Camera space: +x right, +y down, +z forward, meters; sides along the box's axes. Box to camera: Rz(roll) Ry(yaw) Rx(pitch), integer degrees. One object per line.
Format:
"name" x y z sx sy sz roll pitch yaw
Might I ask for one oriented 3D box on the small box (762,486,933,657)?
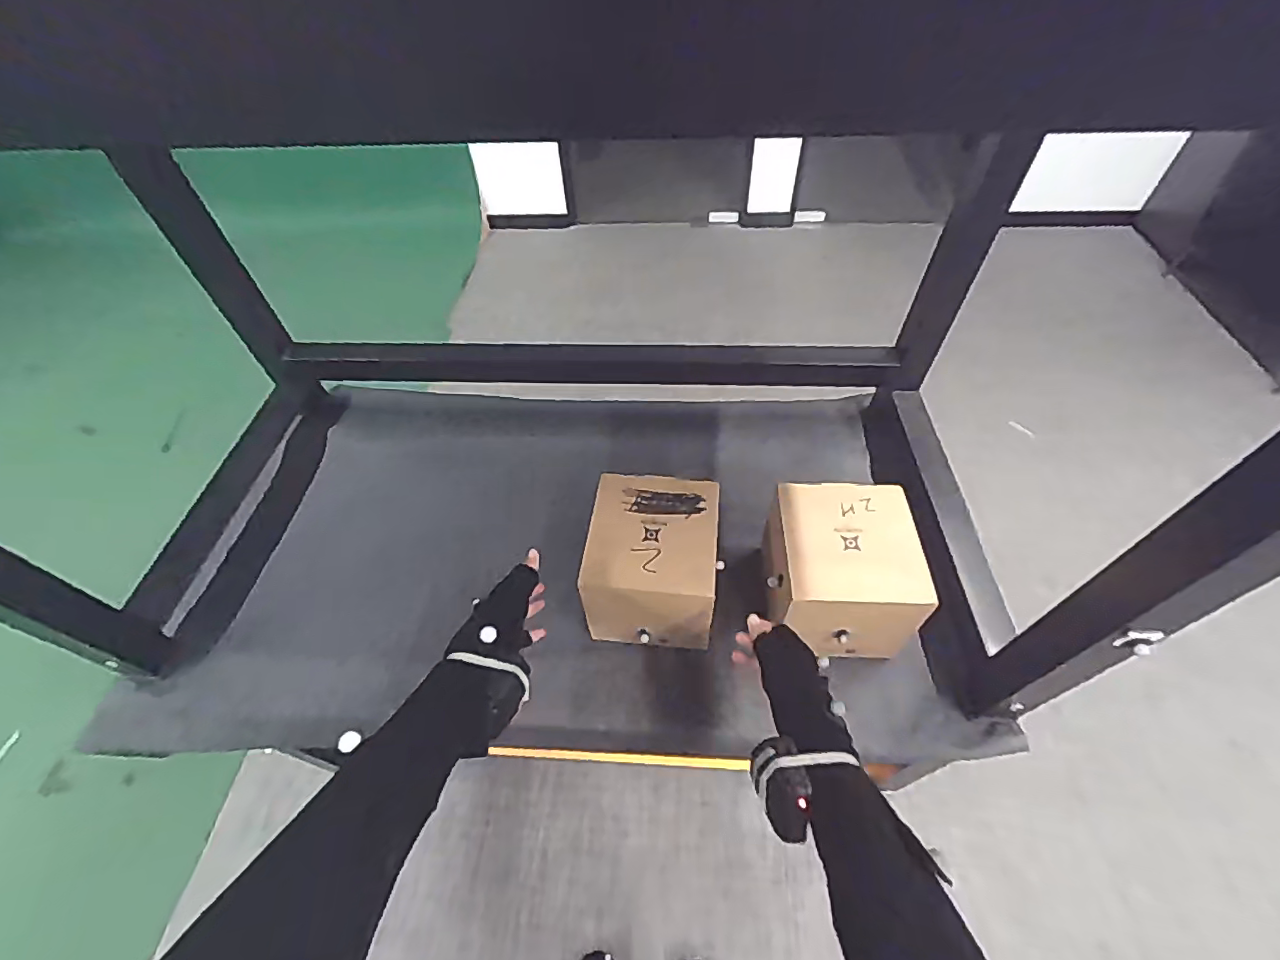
"small box" 0.264 0.128 0.735 0.168 0.176 0.179 1 50 3
